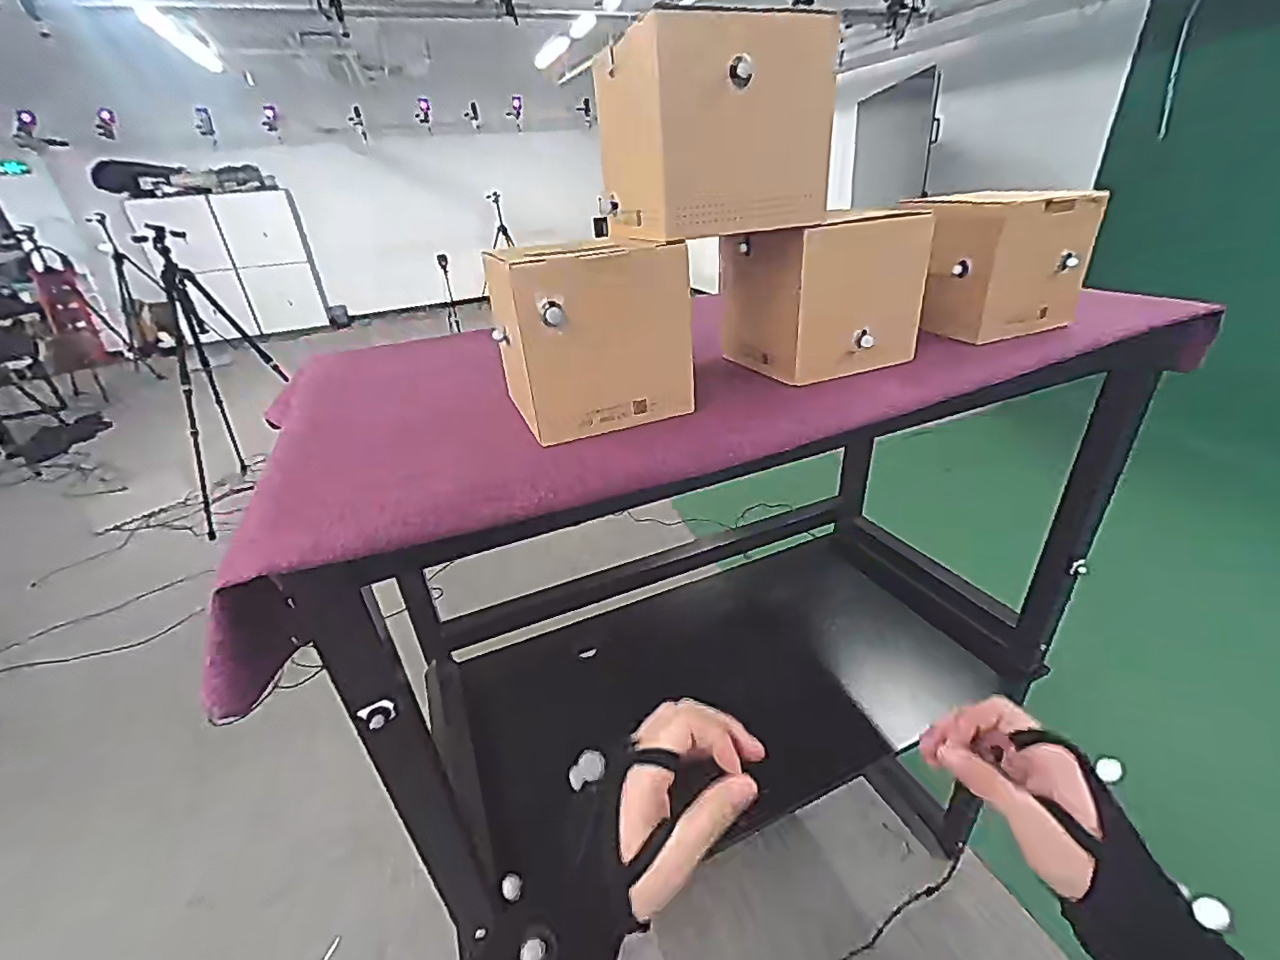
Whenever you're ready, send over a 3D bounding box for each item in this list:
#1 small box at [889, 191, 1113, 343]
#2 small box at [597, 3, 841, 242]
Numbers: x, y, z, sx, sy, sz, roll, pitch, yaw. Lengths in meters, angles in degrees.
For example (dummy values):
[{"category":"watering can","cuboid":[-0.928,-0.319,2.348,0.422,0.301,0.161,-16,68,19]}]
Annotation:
[{"category":"small box","cuboid":[0.475,-0.292,0.741,0.168,0.176,0.179,-13,30,-14]},{"category":"small box","cuboid":[0.070,-0.335,0.534,0.179,0.176,0.168,-13,29,-17]}]
